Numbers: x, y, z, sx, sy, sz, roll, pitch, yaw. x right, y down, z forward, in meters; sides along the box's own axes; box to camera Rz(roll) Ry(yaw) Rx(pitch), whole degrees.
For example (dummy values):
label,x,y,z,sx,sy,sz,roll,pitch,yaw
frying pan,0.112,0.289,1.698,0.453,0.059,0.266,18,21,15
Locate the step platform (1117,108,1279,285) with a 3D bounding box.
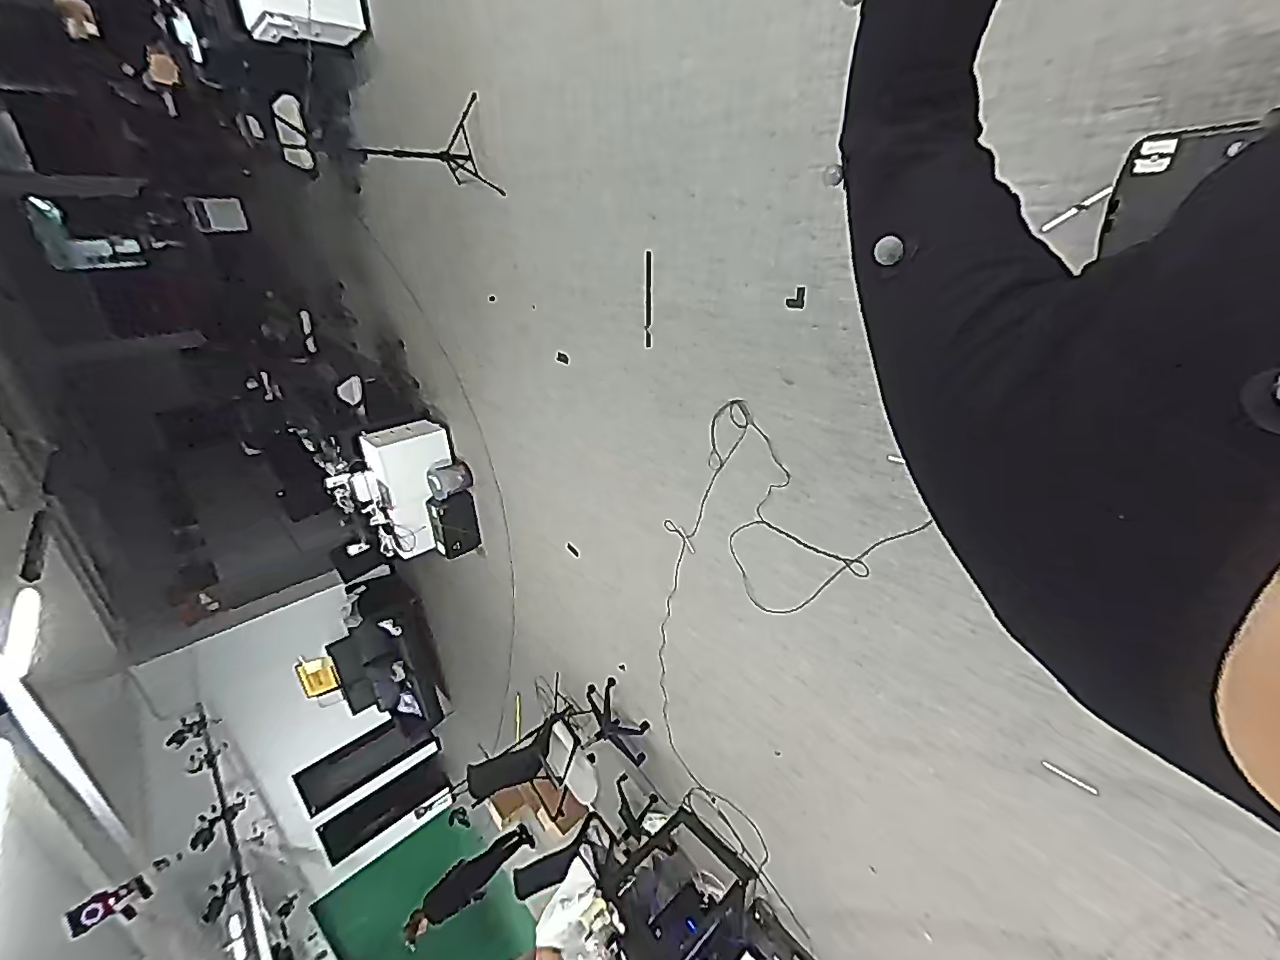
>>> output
label,x,y,z,sx,sy,sz,roll,pitch,yaw
step platform,1.245,-0.474,0.889,0.684,0.204,0.286,21,124,42
